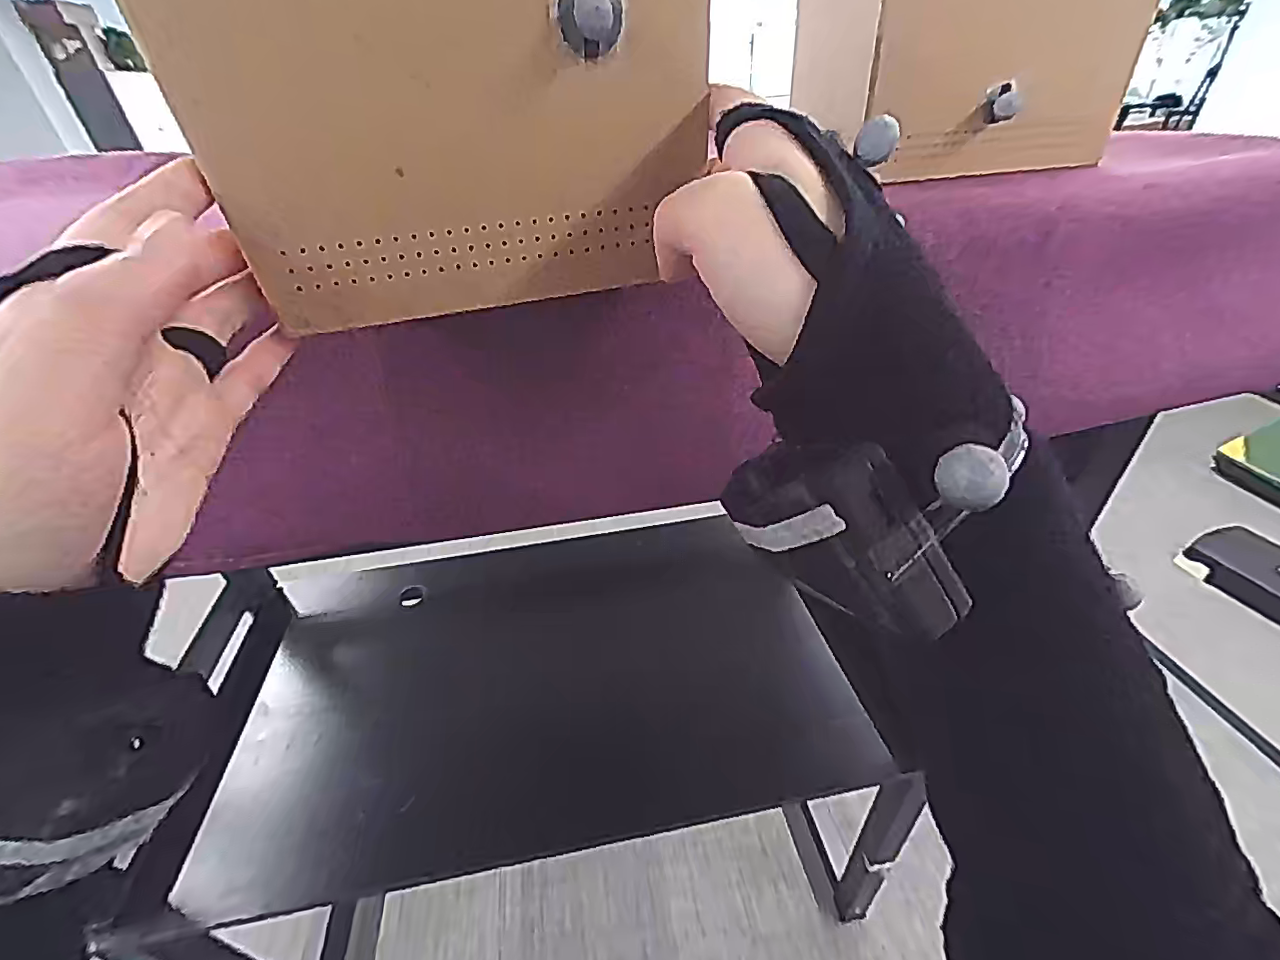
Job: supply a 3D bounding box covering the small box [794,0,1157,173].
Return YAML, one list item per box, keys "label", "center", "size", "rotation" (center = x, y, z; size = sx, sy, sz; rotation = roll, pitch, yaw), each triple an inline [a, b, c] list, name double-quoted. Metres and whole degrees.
- label: "small box"
  center: [0.224, -0.328, 0.385]
  size: [0.179, 0.176, 0.168]
  rotation: [-6, 35, -2]

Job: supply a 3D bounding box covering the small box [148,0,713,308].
- label: "small box"
  center: [-0.074, -0.191, 0.230]
  size: [0.179, 0.176, 0.168]
  rotation: [-13, 39, -9]
